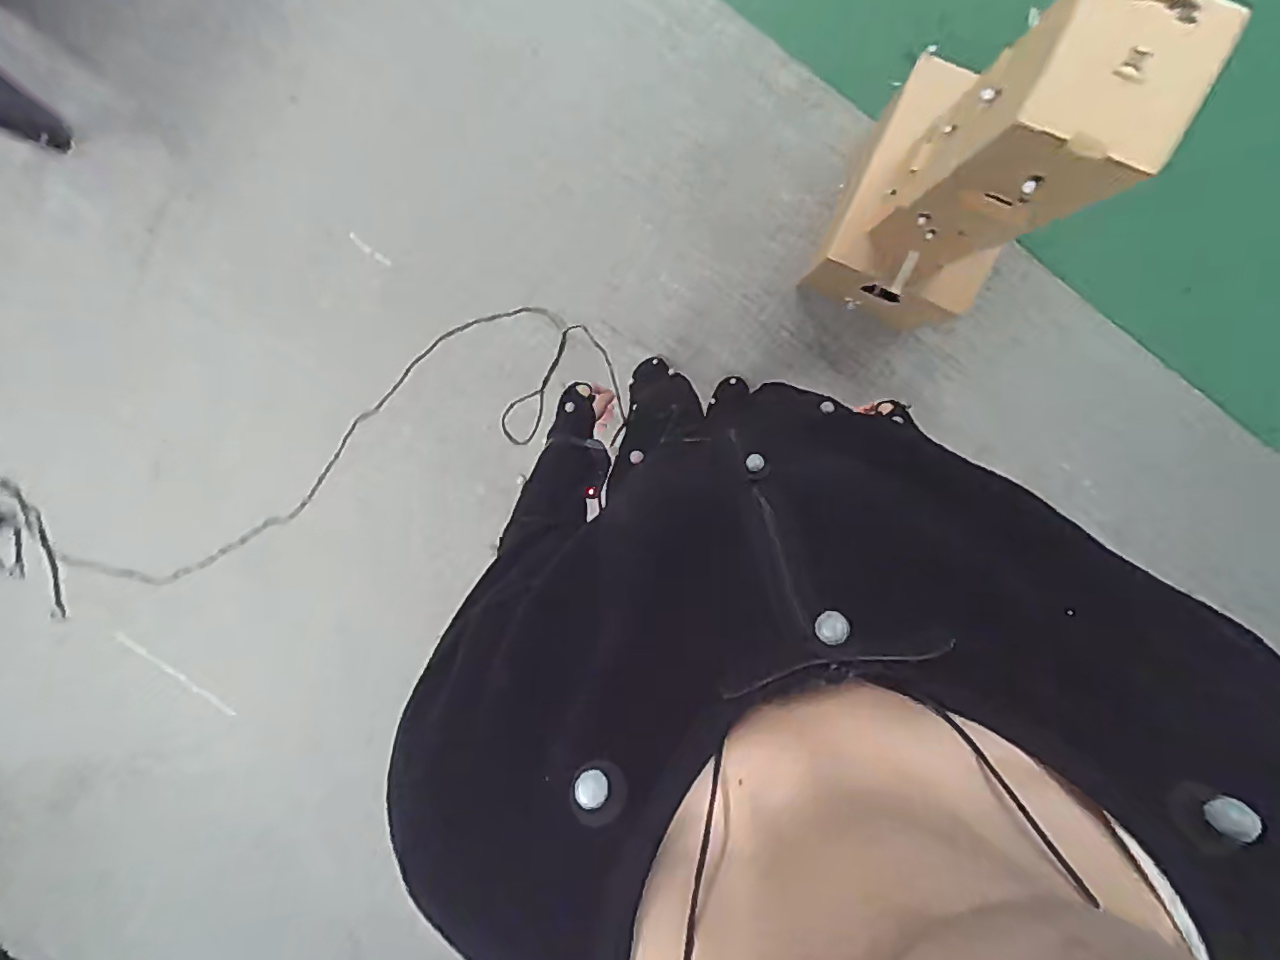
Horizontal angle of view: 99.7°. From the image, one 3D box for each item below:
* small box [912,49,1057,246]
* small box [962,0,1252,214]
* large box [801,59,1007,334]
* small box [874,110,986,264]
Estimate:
[{"bbox_3d":[0.542,-0.480,0.814,0.168,0.176,0.179,23,101,1],"label":"small box"},{"bbox_3d":[0.530,-0.453,0.652,0.168,0.176,0.179,24,102,1],"label":"small box"},{"bbox_3d":[0.607,-0.585,1.205,0.320,0.320,0.408,24,100,0],"label":"large box"},{"bbox_3d":[0.556,-0.512,0.974,0.179,0.176,0.168,25,101,1],"label":"small box"}]
